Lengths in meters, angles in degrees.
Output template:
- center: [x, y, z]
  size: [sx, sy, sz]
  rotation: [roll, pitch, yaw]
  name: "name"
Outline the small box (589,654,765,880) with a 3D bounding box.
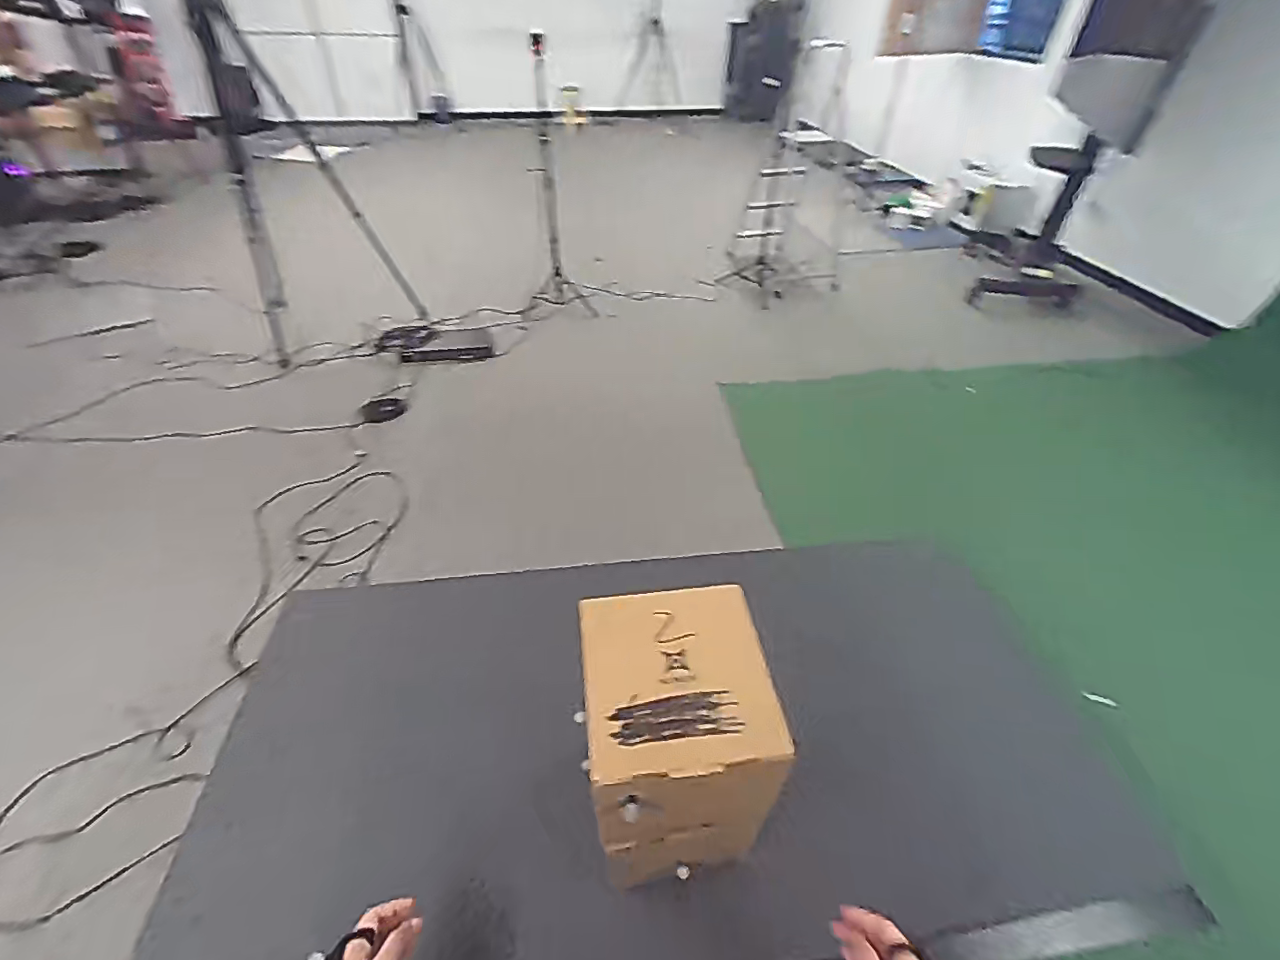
- center: [0.031, 0.340, 0.648]
  size: [0.168, 0.176, 0.179]
  rotation: [-7, 42, -9]
  name: "small box"
